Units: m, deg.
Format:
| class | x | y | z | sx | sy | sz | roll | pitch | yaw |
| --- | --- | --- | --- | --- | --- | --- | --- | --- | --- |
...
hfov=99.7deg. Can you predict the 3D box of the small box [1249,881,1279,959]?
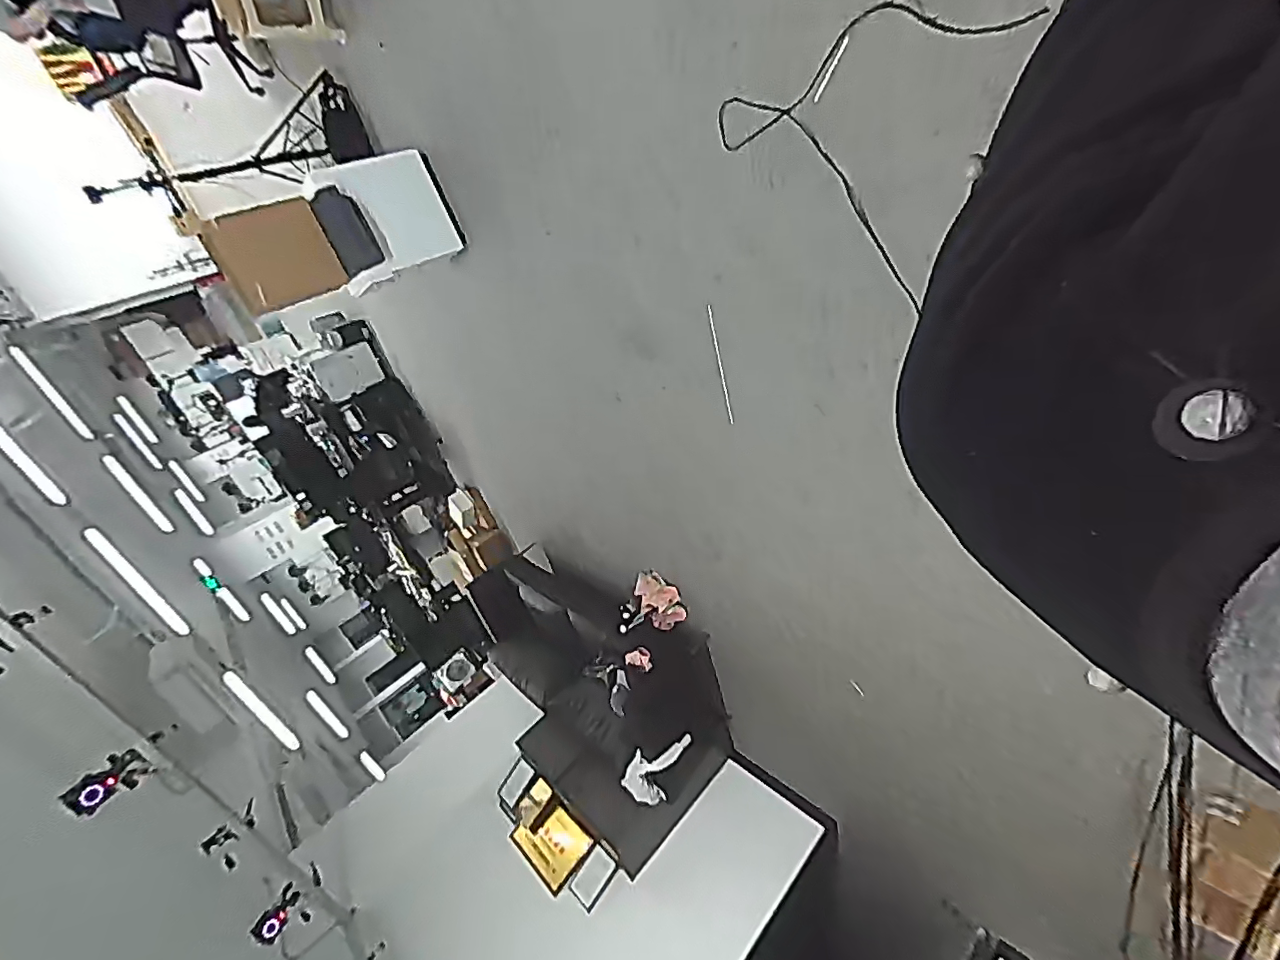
| class | x | y | z | sx | sy | sz | roll | pitch | yaw |
| --- | --- | --- | --- | --- | --- | --- | --- | --- | --- |
| small box | 1.807 | 1.250 | 1.462 | 0.168 | 0.176 | 0.179 | 19 | 134 | 43 |
